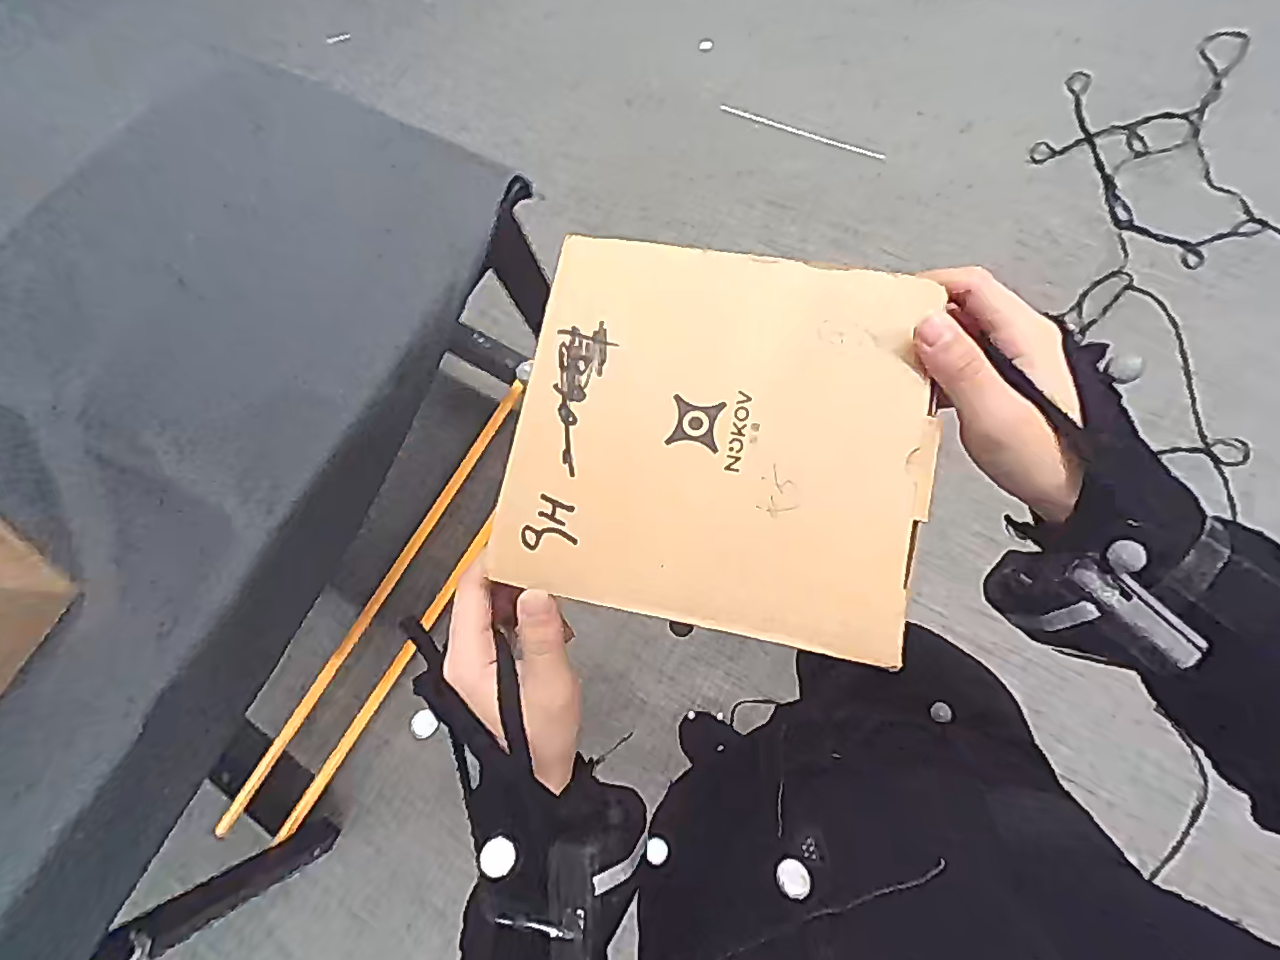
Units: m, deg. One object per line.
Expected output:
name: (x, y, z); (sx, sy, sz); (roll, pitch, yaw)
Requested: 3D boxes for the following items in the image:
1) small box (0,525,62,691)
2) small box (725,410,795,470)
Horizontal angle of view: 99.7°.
small box: (-0.732, 0.133, 0.519); (0.168, 0.176, 0.179); (29, 81, 15)
small box: (0.298, -0.148, 1.216); (0.168, 0.176, 0.179); (30, 81, 14)
